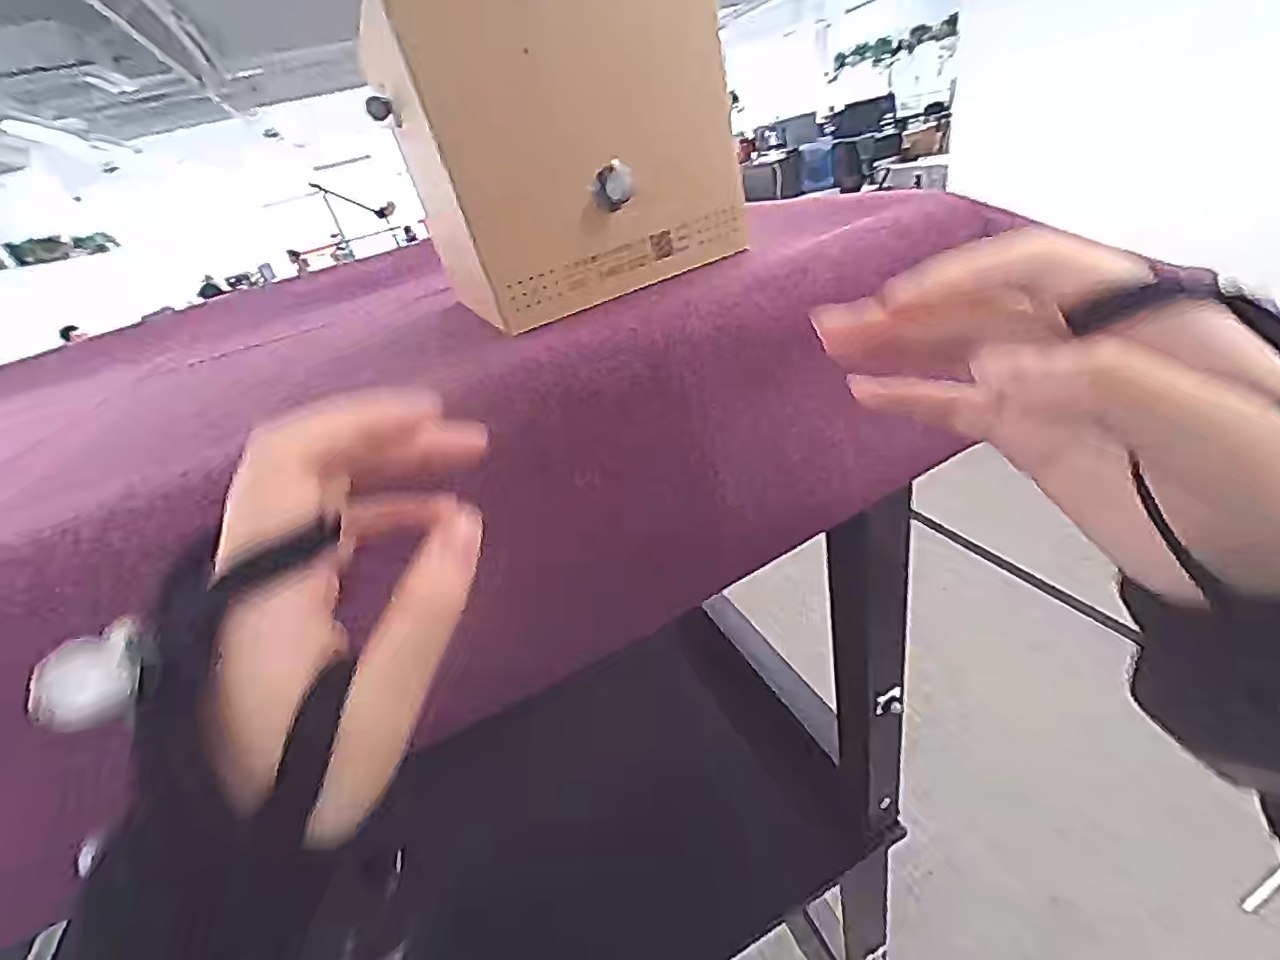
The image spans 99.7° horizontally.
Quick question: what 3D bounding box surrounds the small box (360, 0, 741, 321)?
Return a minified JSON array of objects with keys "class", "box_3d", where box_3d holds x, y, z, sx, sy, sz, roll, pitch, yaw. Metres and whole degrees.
[{"class":"small box","box_3d":[-0.057,-0.214,0.347,0.168,0.176,0.179,-26,32,-16]}]
